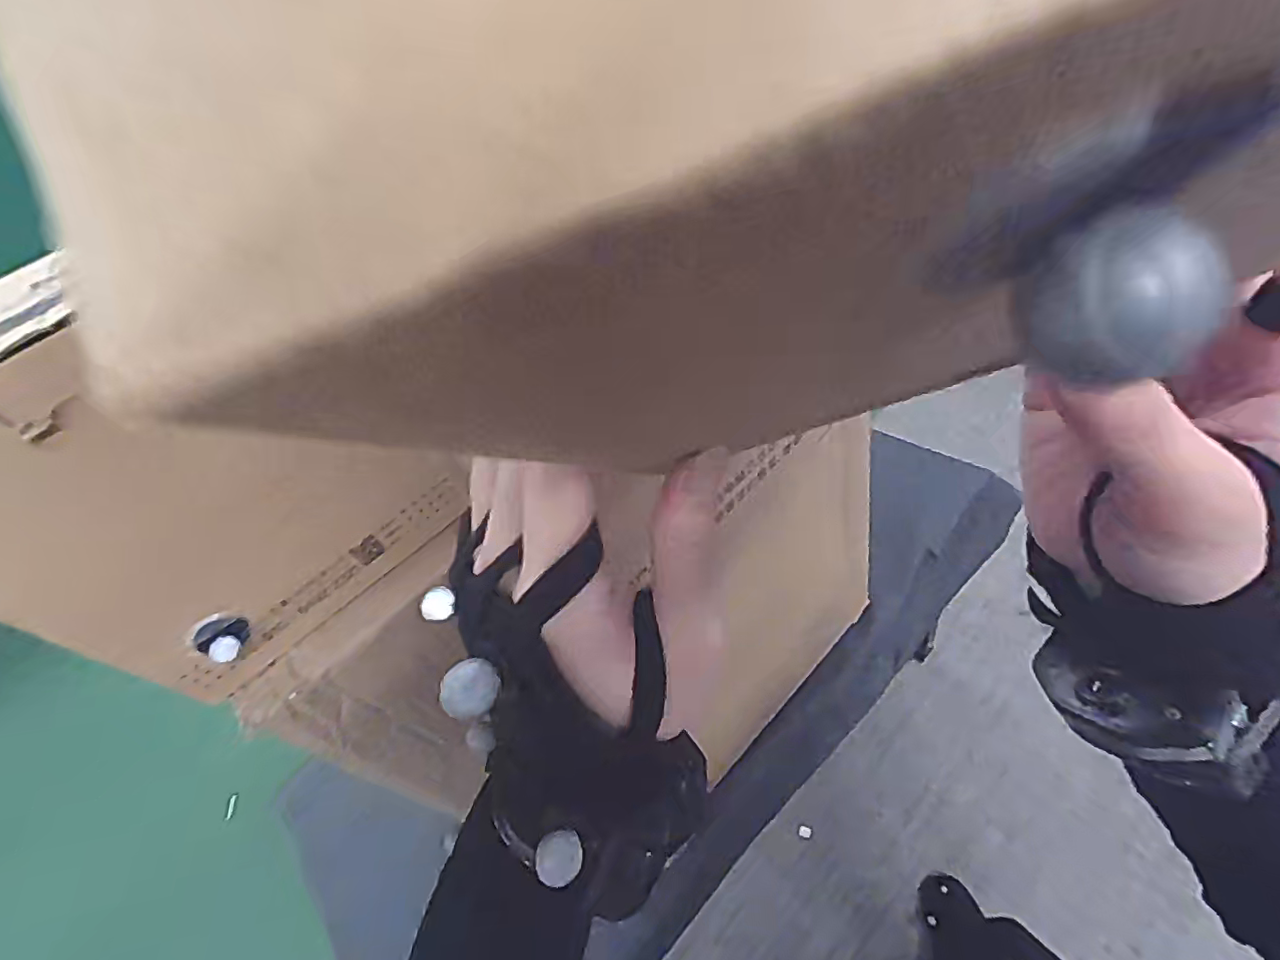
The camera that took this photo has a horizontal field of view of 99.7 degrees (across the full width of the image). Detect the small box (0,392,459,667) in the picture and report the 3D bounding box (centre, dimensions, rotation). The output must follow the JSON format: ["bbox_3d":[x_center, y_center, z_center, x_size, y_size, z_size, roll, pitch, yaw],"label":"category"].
[{"bbox_3d":[-0.229,-0.027,0.289,0.168,0.176,0.179,-40,47,-14],"label":"small box"}]
